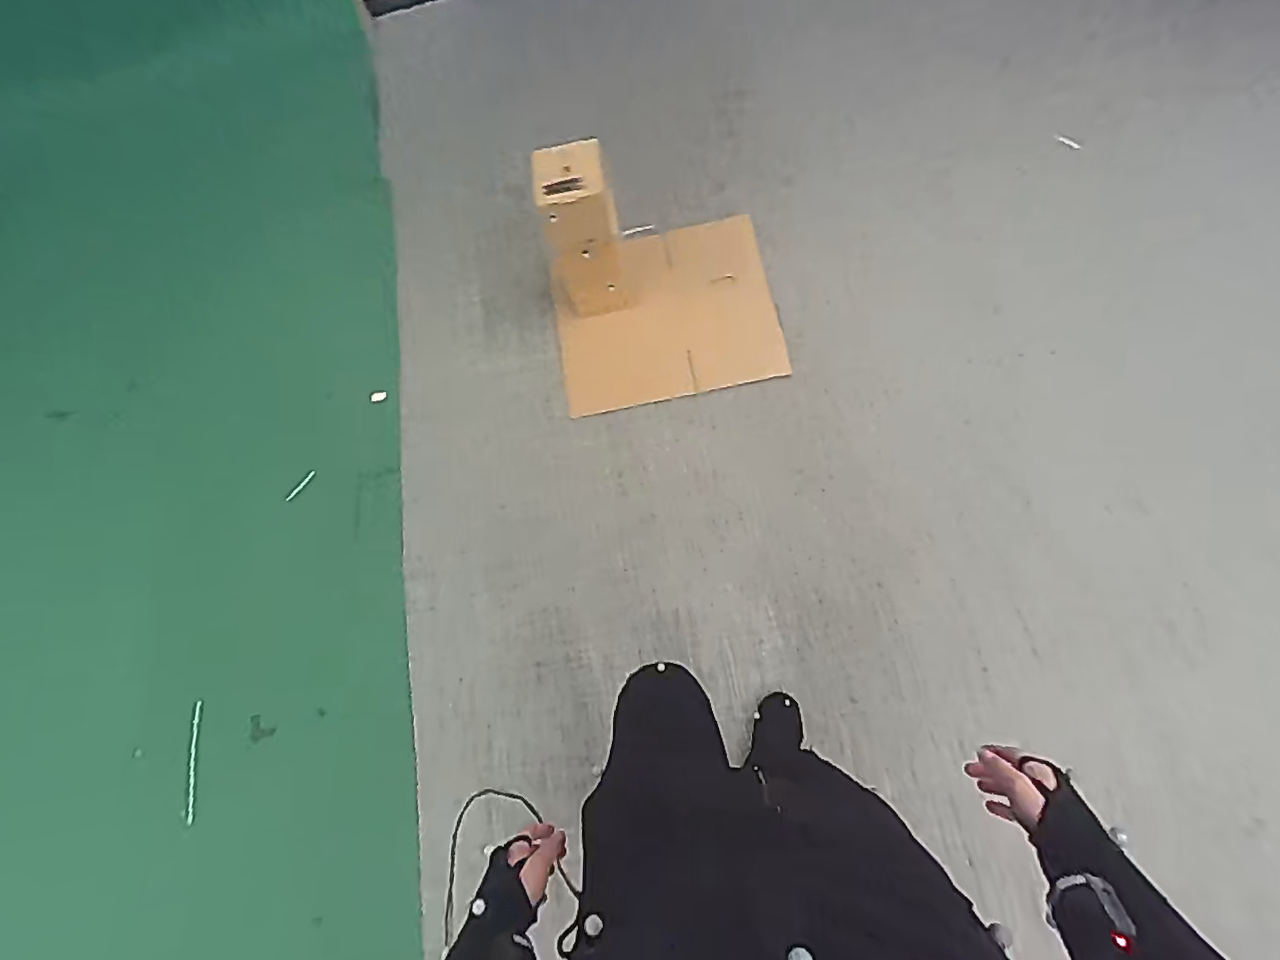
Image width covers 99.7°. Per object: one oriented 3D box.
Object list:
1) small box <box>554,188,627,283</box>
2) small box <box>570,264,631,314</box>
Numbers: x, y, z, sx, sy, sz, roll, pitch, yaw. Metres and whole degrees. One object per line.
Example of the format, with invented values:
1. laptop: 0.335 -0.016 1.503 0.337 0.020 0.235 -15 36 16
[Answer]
1. small box: -0.137 -0.695 1.551 0.179 0.176 0.168 -10 73 5
2. small box: -0.125 -0.648 1.706 0.179 0.176 0.168 -9 72 3
